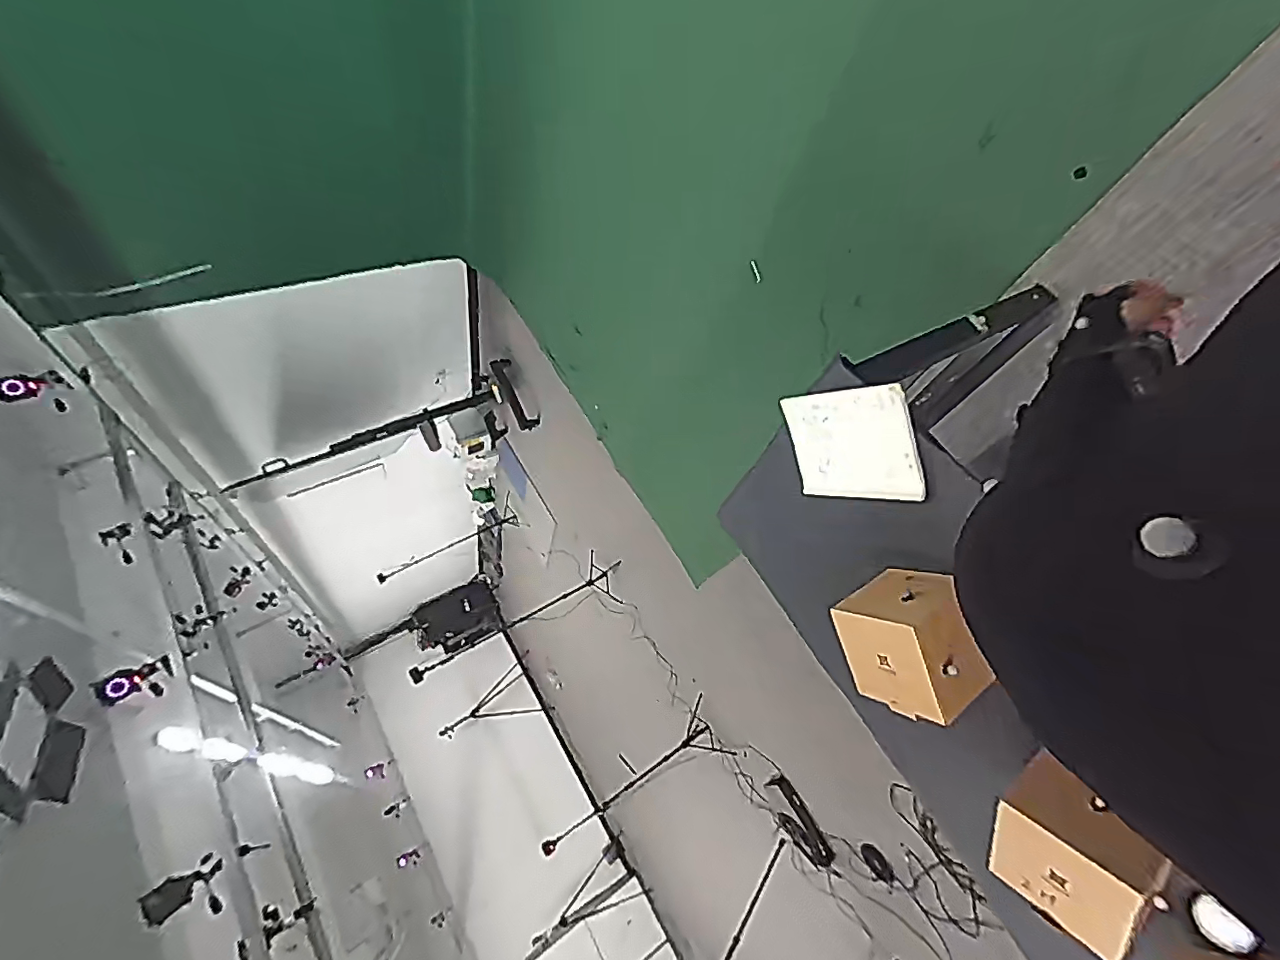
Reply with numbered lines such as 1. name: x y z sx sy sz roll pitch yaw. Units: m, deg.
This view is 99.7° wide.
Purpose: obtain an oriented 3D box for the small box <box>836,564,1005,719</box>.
1. small box: 0.472 0.257 0.911 0.168 0.176 0.179 -7 107 62

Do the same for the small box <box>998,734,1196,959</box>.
1. small box: 0.661 0.517 0.789 0.168 0.176 0.179 26 134 52
